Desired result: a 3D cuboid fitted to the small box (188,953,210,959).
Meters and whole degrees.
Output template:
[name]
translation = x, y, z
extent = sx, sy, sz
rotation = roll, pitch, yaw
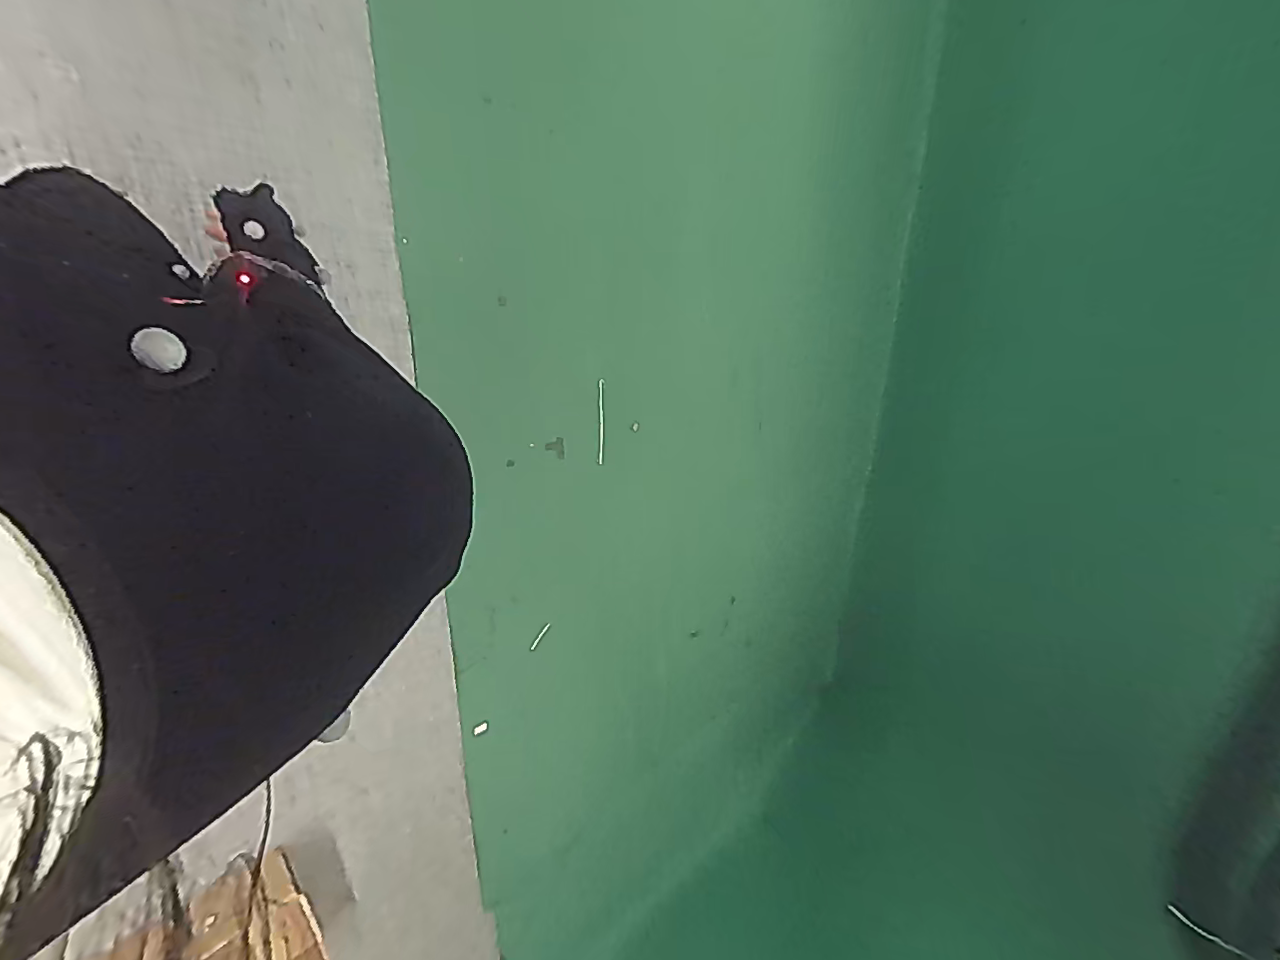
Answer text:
[small box]
translation = -1.106, 1.299, 1.293
extent = 0.168, 0.176, 0.179
rotation = -22, 121, -40
